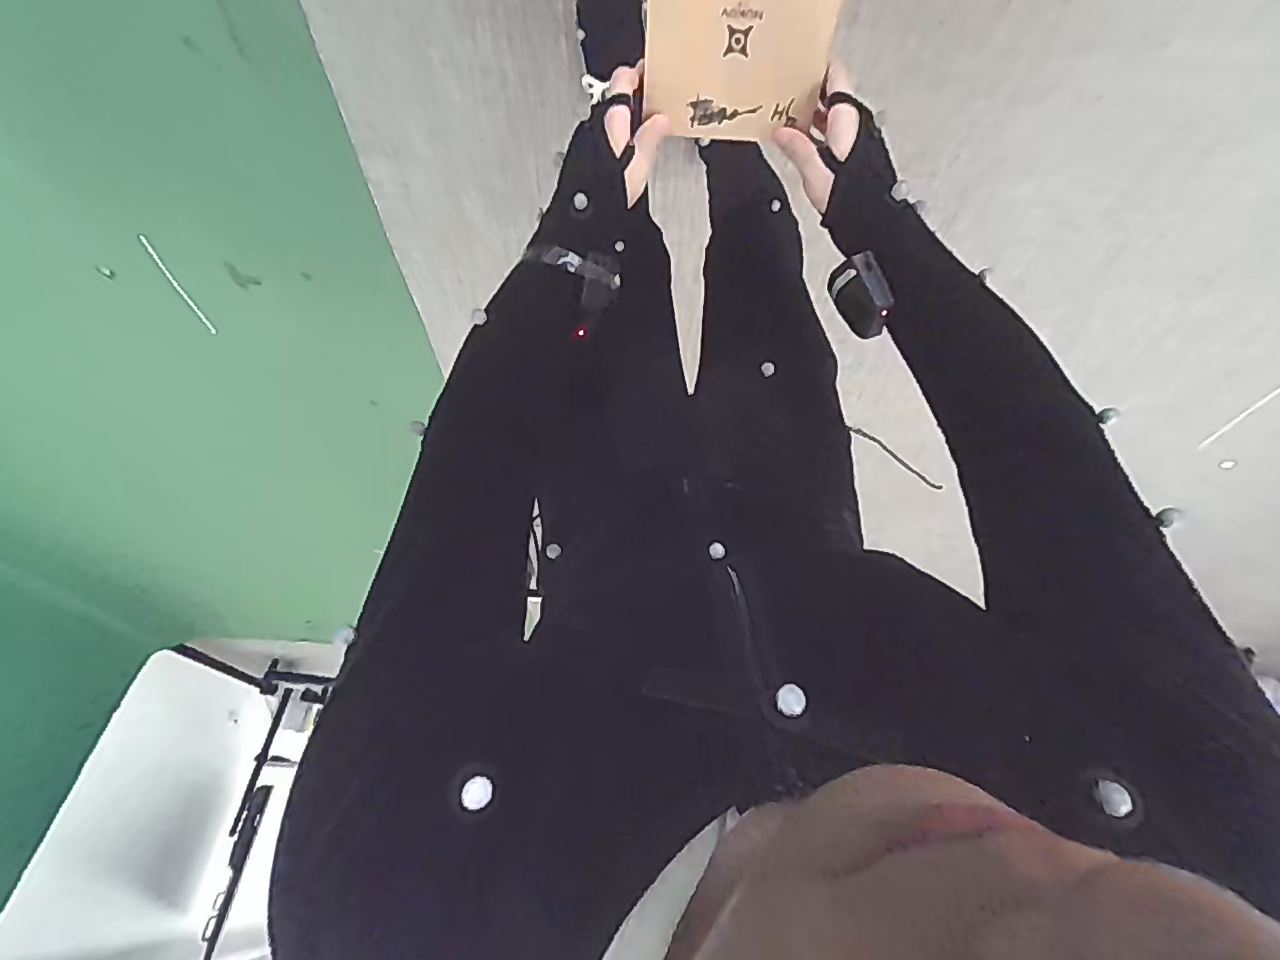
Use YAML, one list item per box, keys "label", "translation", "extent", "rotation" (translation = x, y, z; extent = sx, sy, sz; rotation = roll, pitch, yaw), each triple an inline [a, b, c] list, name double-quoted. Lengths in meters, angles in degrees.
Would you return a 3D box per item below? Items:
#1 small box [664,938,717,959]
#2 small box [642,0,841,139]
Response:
- label: "small box"
  translation: [0.160, 1.601, 1.748]
  extent: [0.168, 0.176, 0.179]
  rotation: [3, 146, 2]
- label: "small box"
  translation: [0.090, -0.459, 0.516]
  extent: [0.168, 0.176, 0.179]
  rotation: [4, 142, 0]
